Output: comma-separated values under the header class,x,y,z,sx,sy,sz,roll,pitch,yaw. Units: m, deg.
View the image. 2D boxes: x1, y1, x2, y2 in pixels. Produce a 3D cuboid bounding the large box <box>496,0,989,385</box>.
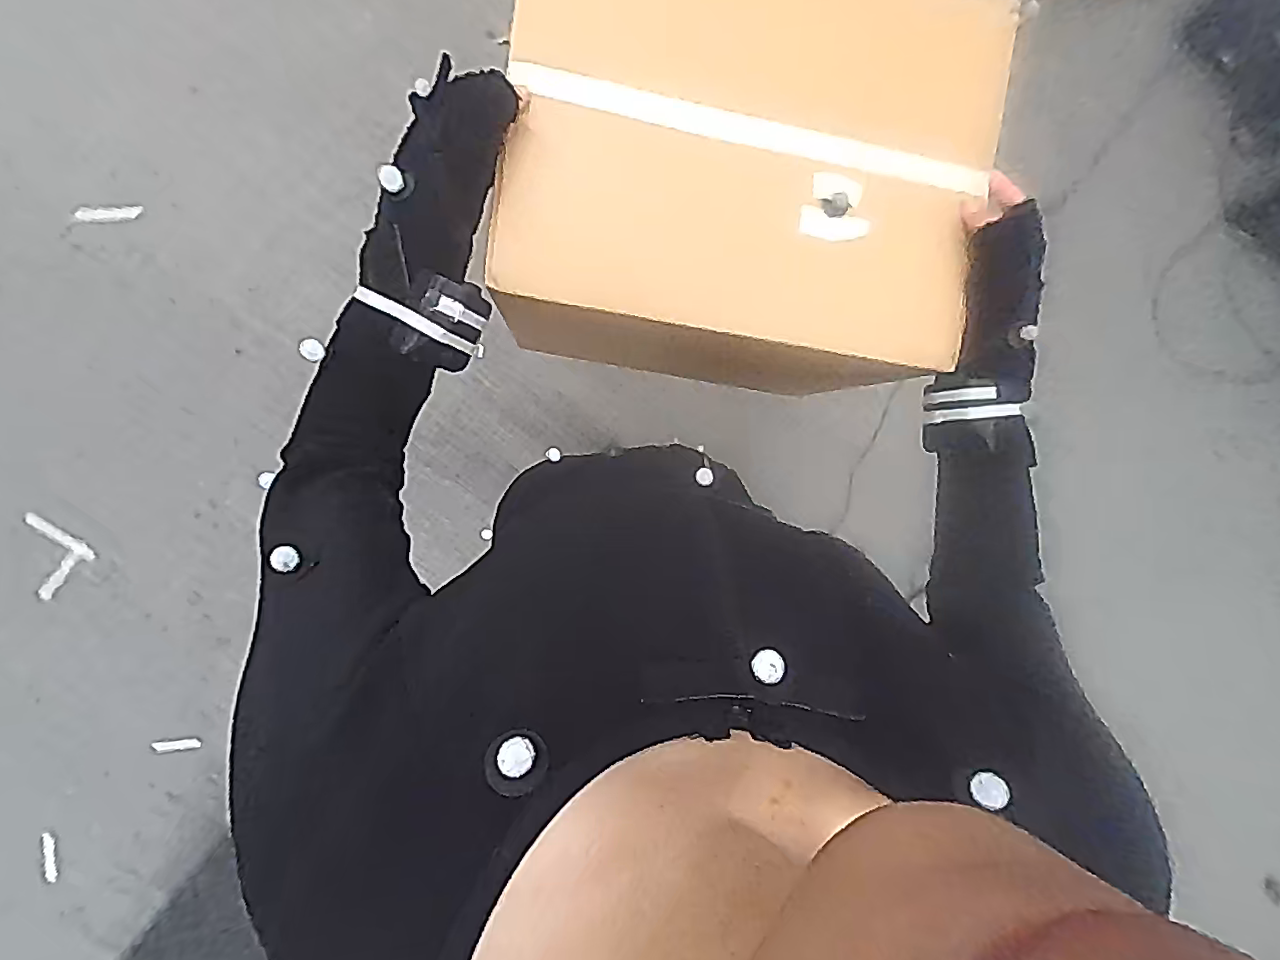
class,x,y,z,sx,sy,sz,roll,pitch,yaw
large box,0.072,-0.297,0.595,0.408,0.320,0.320,7,94,-9
